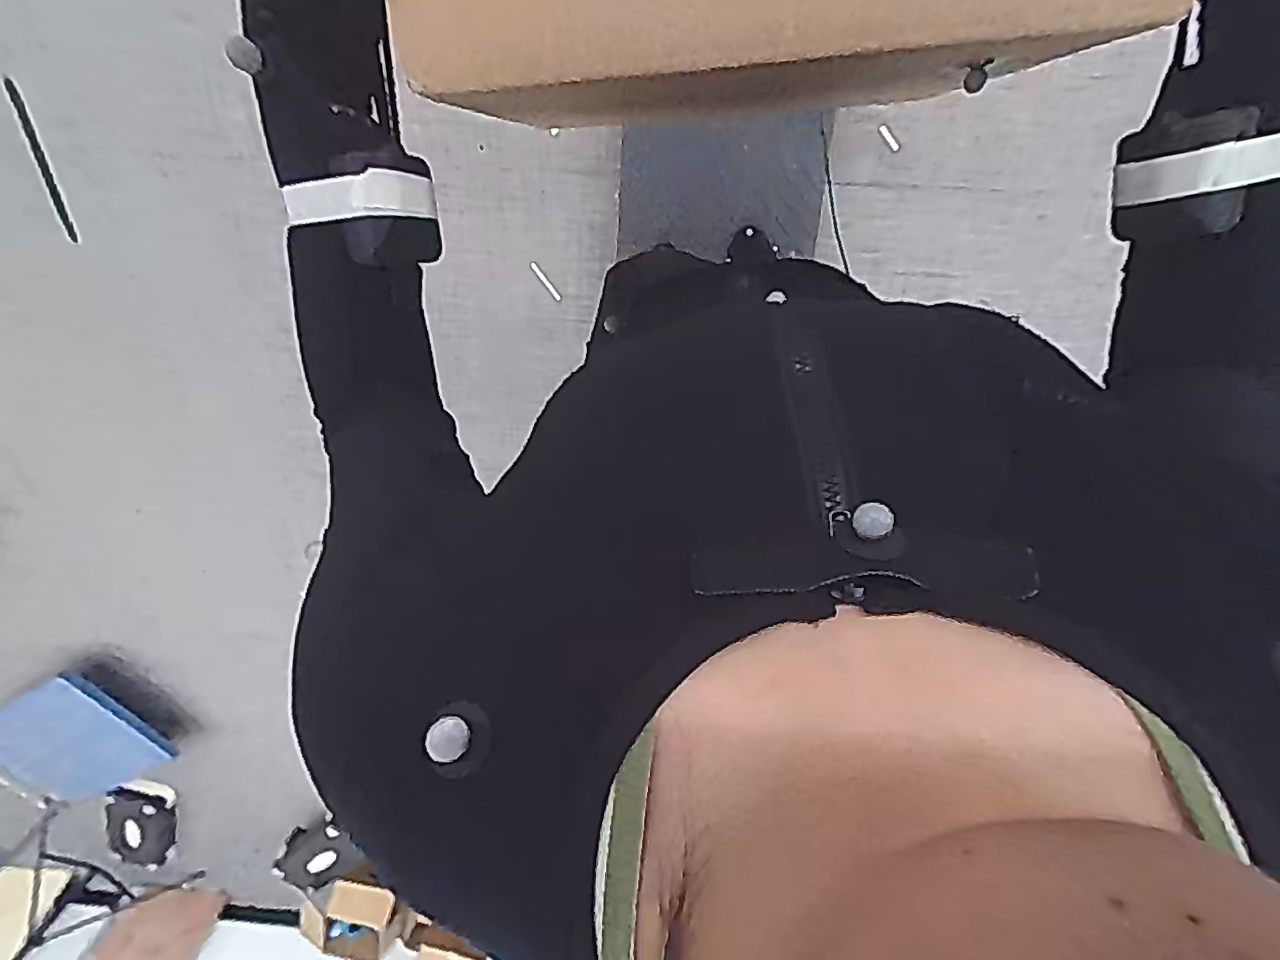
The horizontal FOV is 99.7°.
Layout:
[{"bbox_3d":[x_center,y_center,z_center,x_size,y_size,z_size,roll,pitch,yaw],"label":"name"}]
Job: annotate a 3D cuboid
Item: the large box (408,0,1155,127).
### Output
[{"bbox_3d":[0.072,-0.438,0.356,0.408,0.320,0.320,-1,119,5],"label":"large box"}]
